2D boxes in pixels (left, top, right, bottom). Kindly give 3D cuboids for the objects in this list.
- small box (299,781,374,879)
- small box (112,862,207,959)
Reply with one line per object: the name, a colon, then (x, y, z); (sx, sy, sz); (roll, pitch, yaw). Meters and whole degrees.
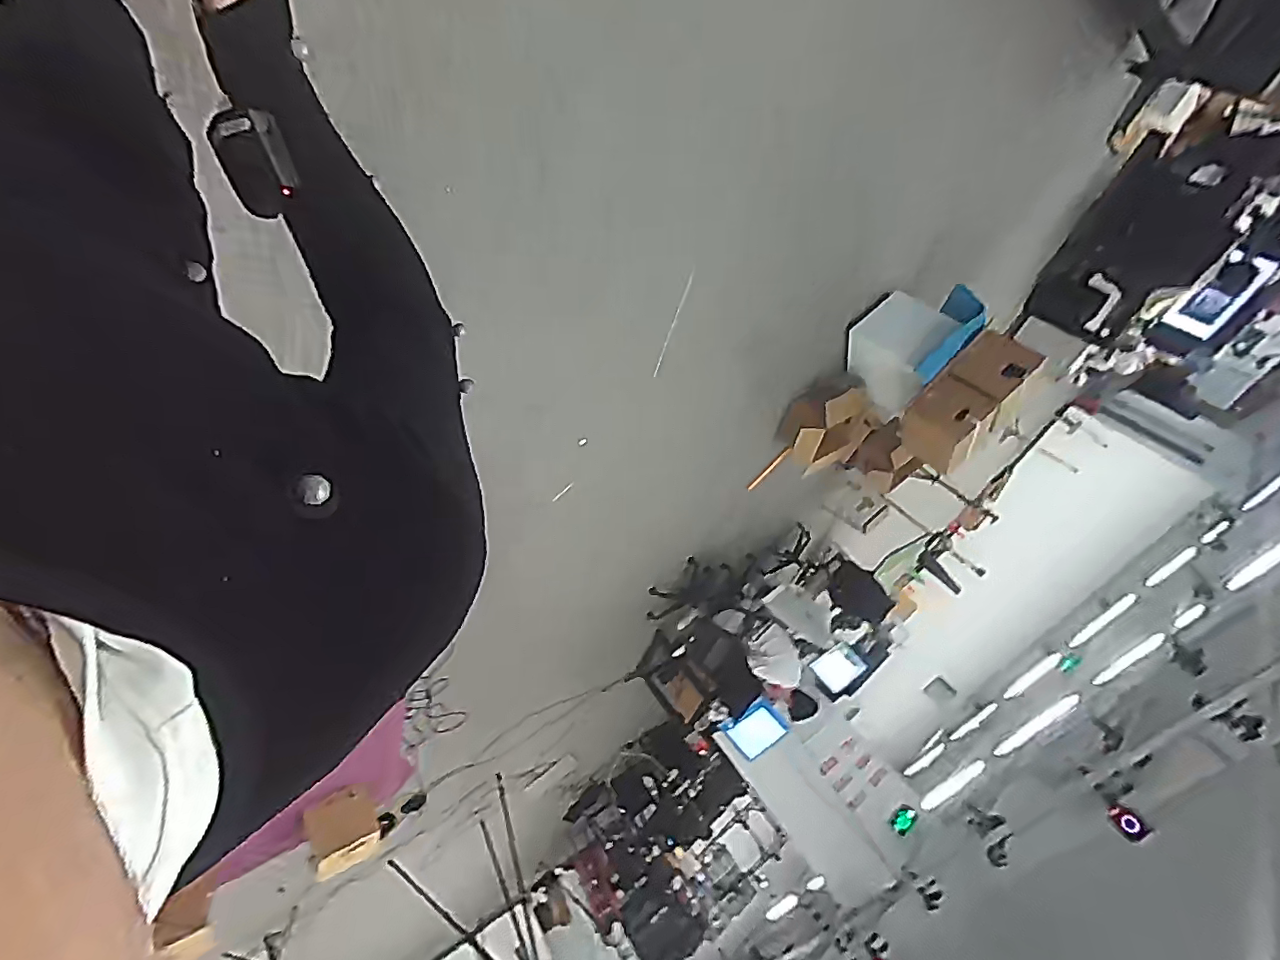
small box: (-0.936, 1.065, 1.662); (0.168, 0.176, 0.179); (-11, 137, -40)
small box: (-1.253, 1.148, 1.412); (0.168, 0.176, 0.179); (-9, 135, -42)
